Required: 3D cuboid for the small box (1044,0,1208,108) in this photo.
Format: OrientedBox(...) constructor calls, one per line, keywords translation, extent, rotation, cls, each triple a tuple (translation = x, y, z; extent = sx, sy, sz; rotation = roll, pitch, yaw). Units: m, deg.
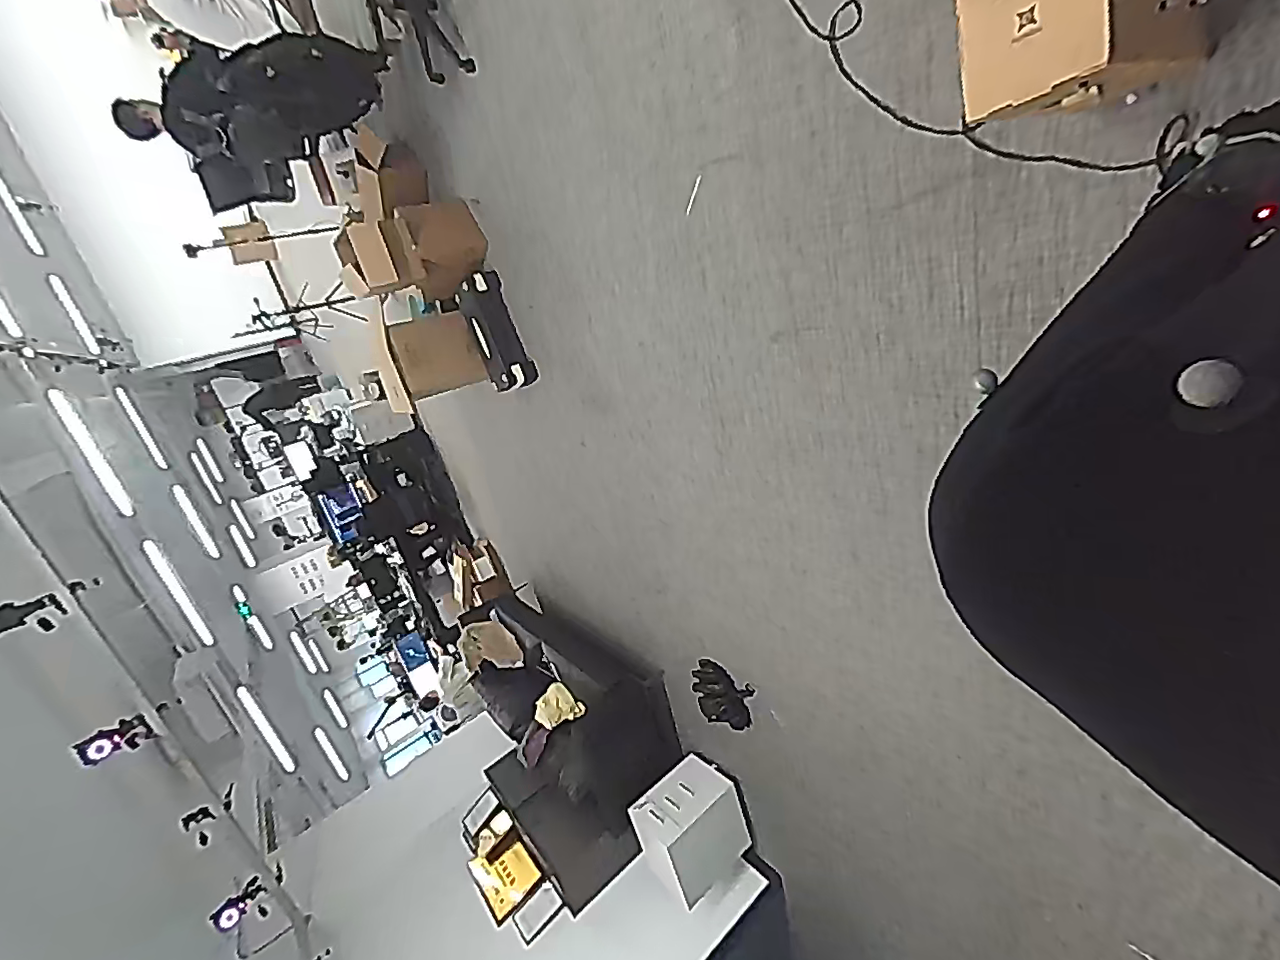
OrientedBox(translation=(0.807, -0.755, 0.898), extent=(0.168, 0.176, 0.179), rotation=(3, 117, 56), cls="small box")
